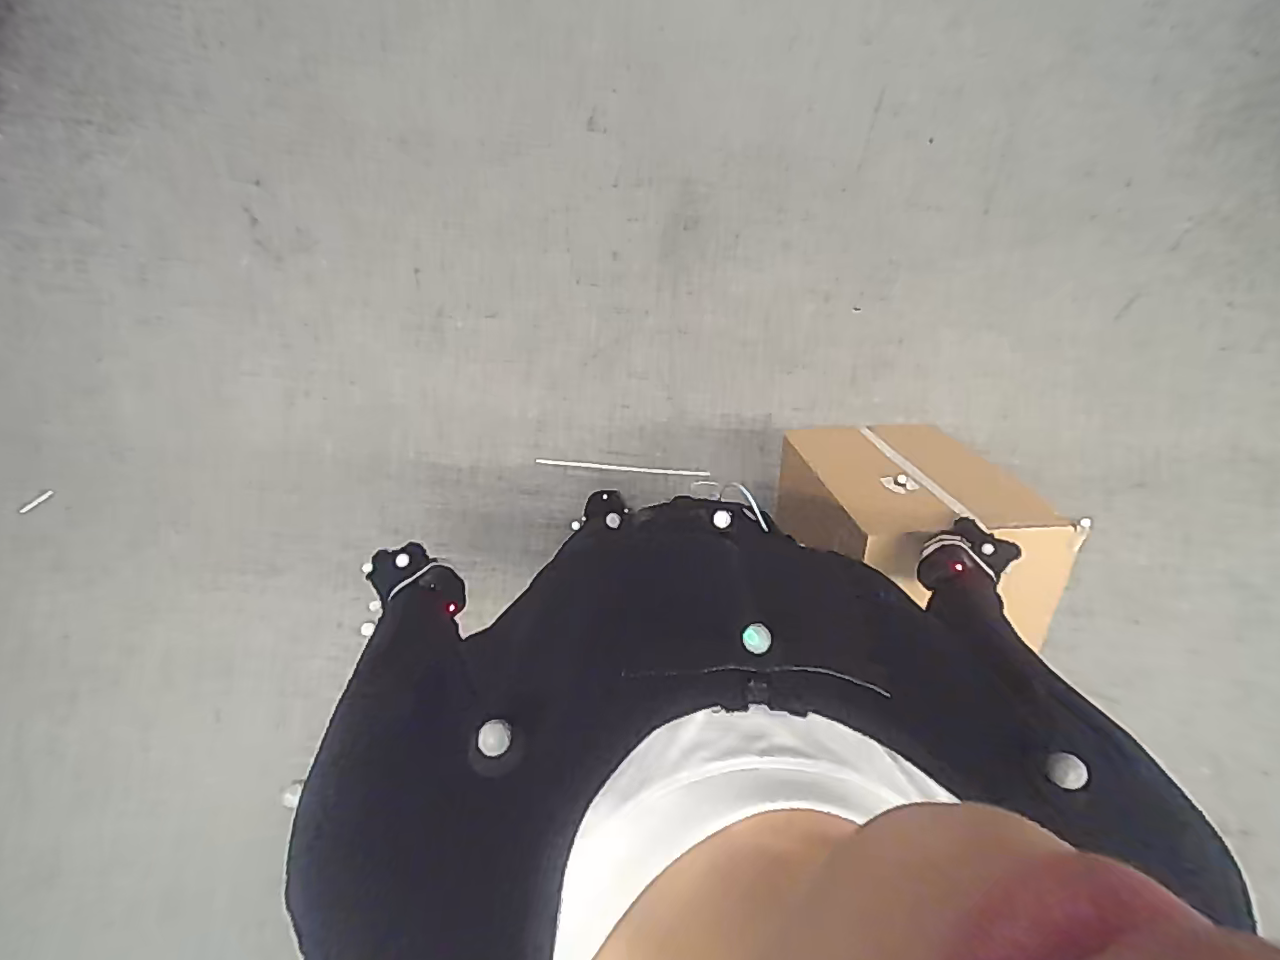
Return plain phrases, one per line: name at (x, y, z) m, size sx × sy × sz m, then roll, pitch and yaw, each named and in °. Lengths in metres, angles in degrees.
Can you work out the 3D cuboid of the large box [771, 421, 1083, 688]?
large box at (0.456, 0.109, 0.987) m, size 0.320 × 0.408 × 0.320 m, roll -3°, pitch 117°, yaw -2°
